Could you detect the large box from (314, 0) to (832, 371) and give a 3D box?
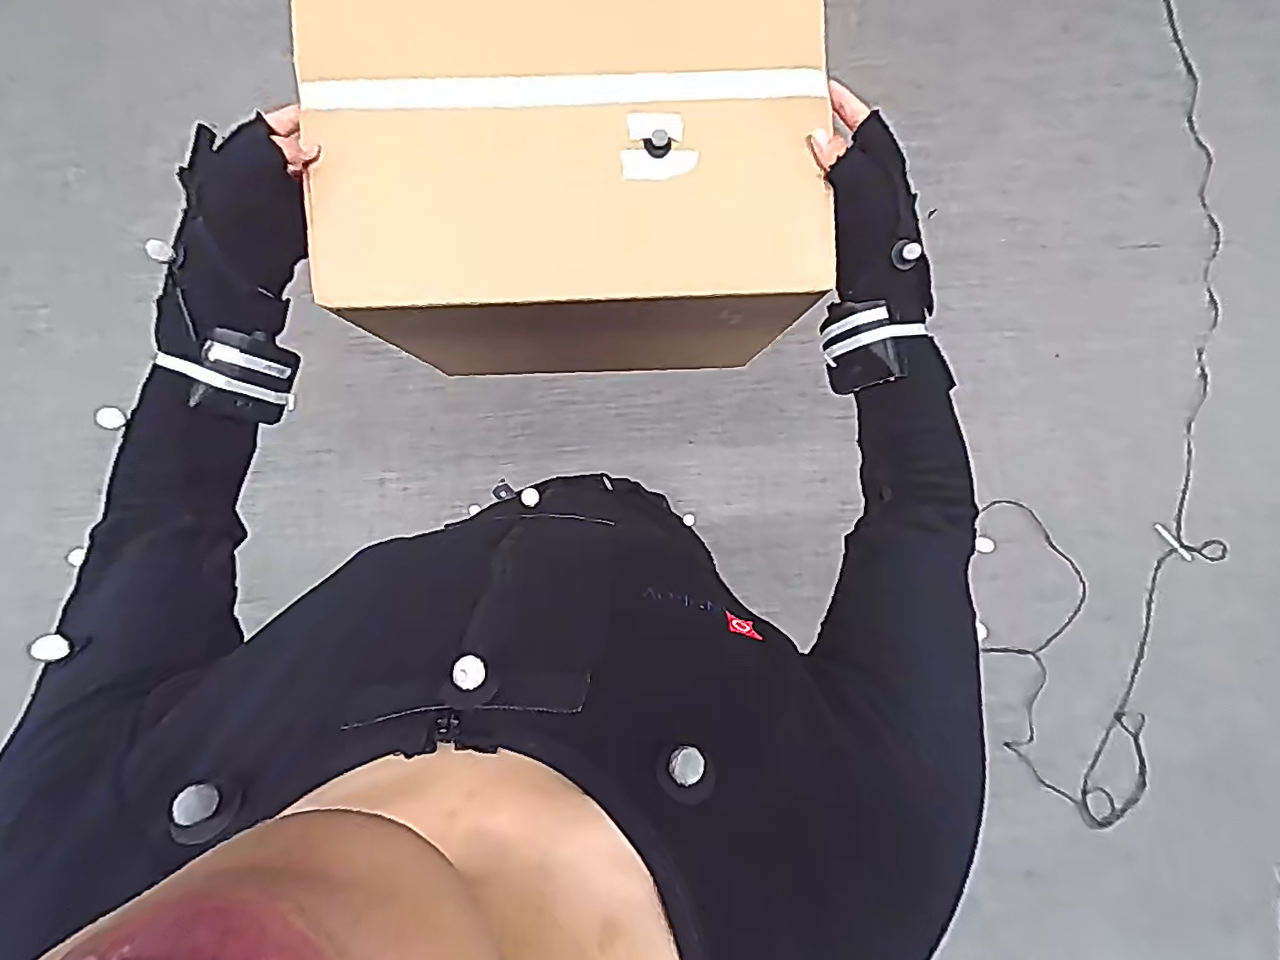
[{"bbox_3d":[-0.058,-0.308,0.577,0.408,0.320,0.320,-3,92,-2],"label":"large box"}]
